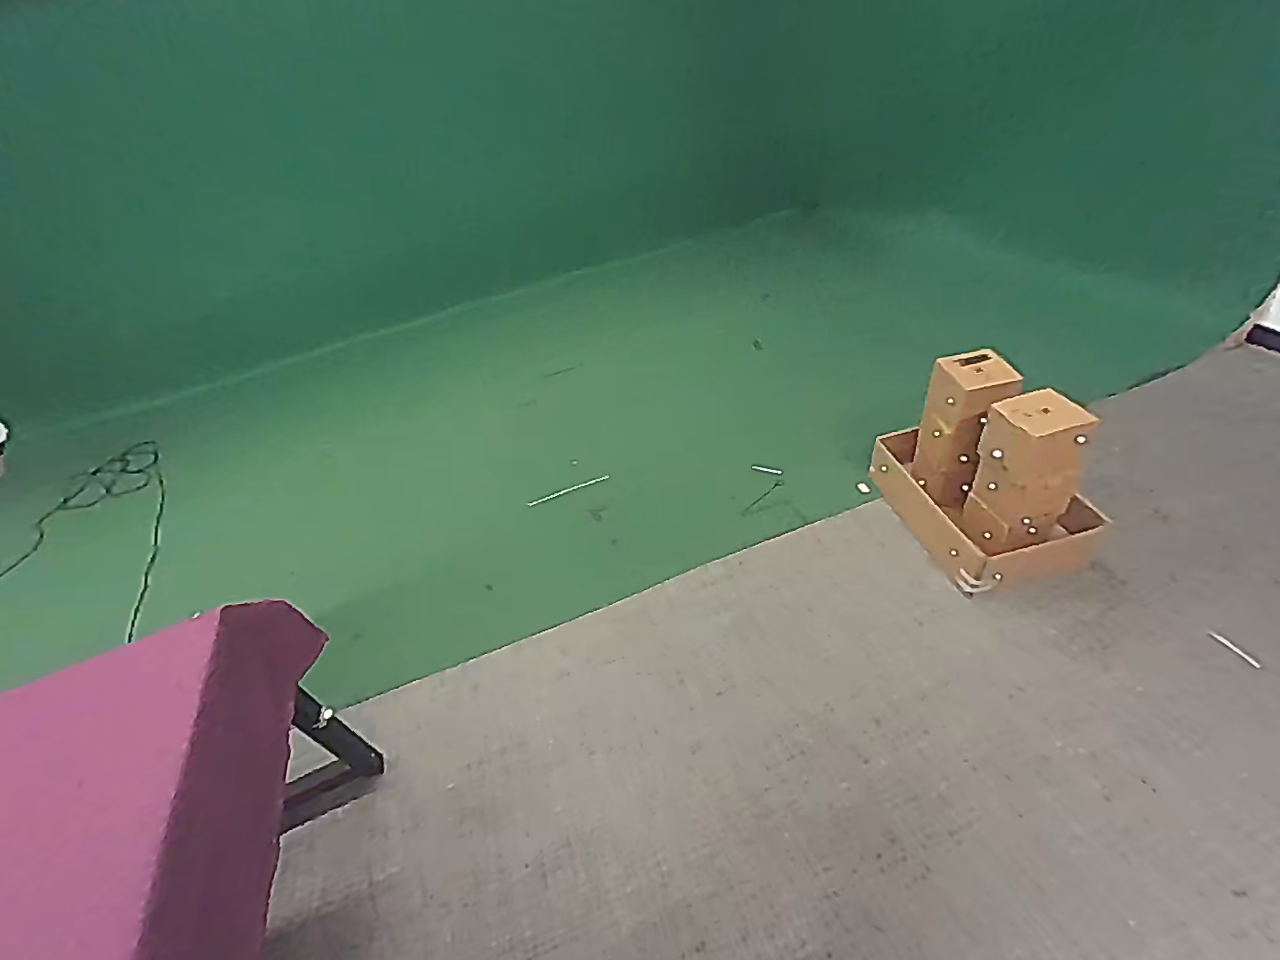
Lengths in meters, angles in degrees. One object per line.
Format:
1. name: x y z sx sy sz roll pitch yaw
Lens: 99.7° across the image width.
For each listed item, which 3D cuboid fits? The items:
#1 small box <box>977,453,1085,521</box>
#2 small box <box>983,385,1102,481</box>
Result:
1. small box: 1.112 -0.002 1.553 0.168 0.176 0.179 -17 39 -2
2. small box: 1.066 -0.123 1.451 0.179 0.176 0.168 -17 40 -1
